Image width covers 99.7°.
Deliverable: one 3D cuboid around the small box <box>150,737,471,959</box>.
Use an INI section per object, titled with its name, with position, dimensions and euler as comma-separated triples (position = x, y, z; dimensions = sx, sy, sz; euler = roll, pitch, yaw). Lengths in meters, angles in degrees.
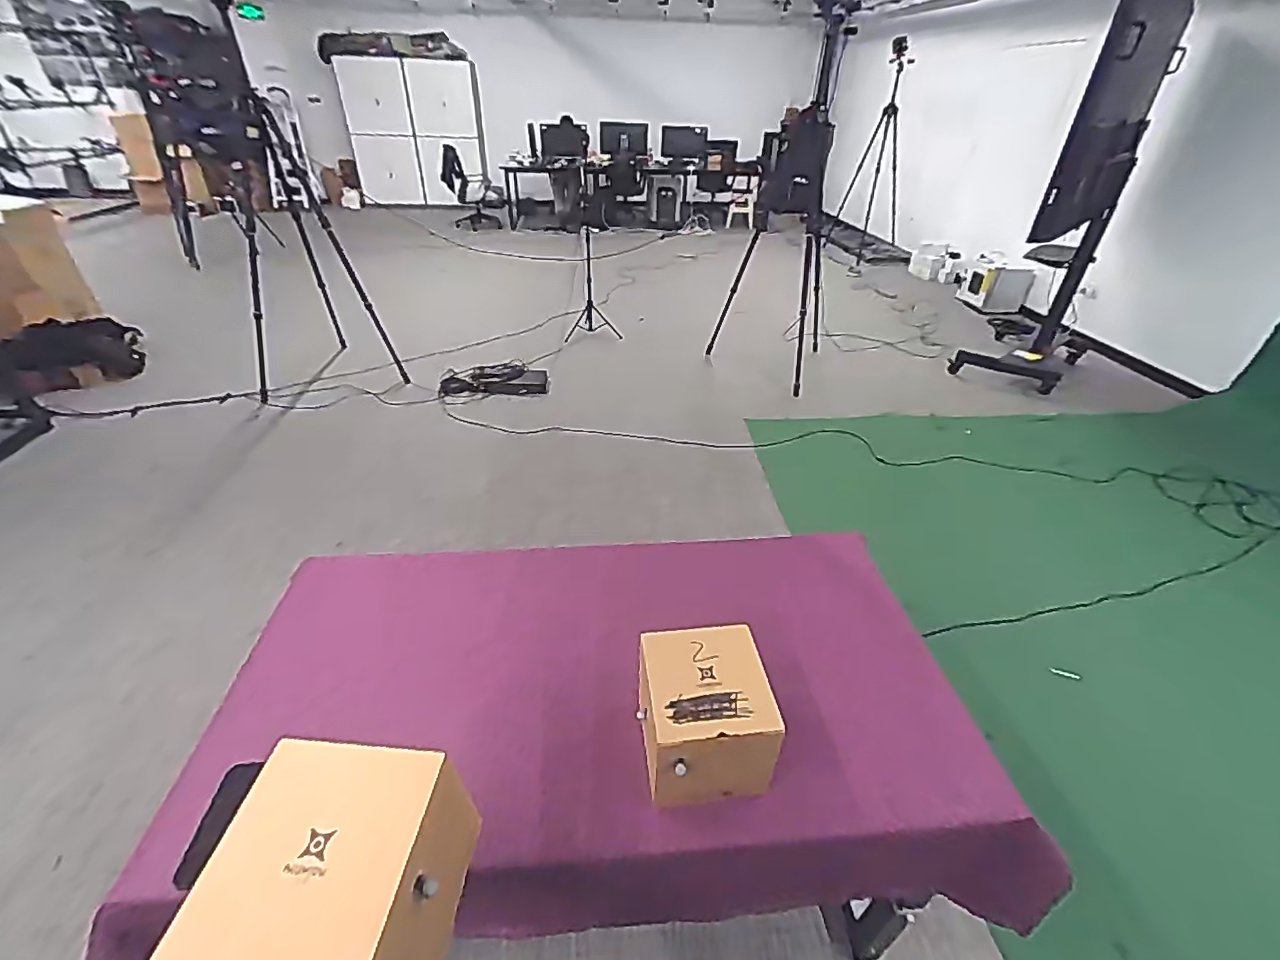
[small box]
position = -0.268, 0.369, 0.497
dimensions = 0.168, 0.176, 0.179
euler = 4, 41, 4
